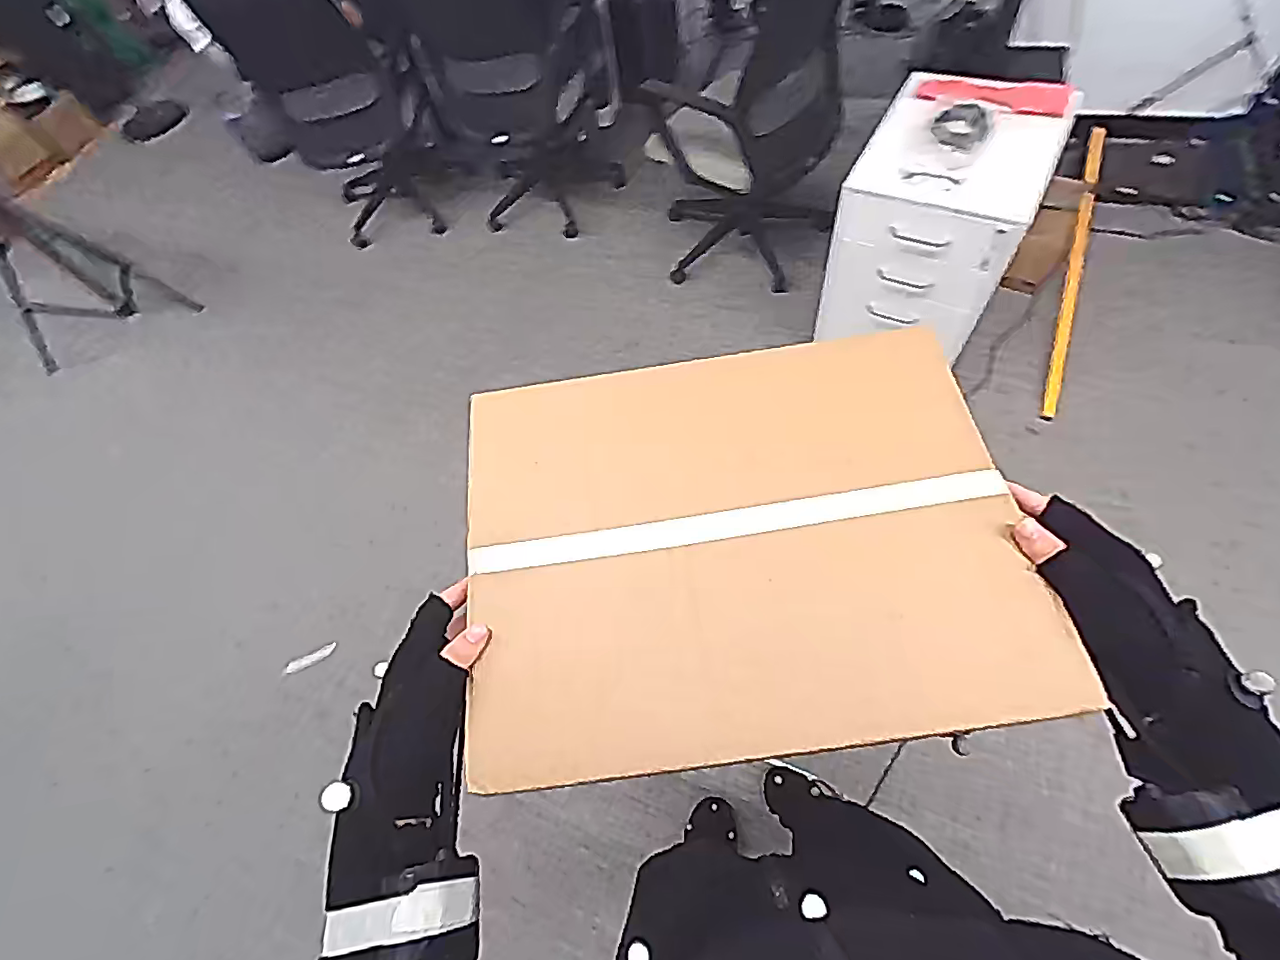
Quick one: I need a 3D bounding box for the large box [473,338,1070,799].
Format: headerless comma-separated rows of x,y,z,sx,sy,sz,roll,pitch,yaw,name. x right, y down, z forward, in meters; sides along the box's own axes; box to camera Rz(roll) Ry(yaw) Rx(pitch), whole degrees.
0.081,0.103,0.552,0.408,0.320,0.320,-9,63,0,large box
